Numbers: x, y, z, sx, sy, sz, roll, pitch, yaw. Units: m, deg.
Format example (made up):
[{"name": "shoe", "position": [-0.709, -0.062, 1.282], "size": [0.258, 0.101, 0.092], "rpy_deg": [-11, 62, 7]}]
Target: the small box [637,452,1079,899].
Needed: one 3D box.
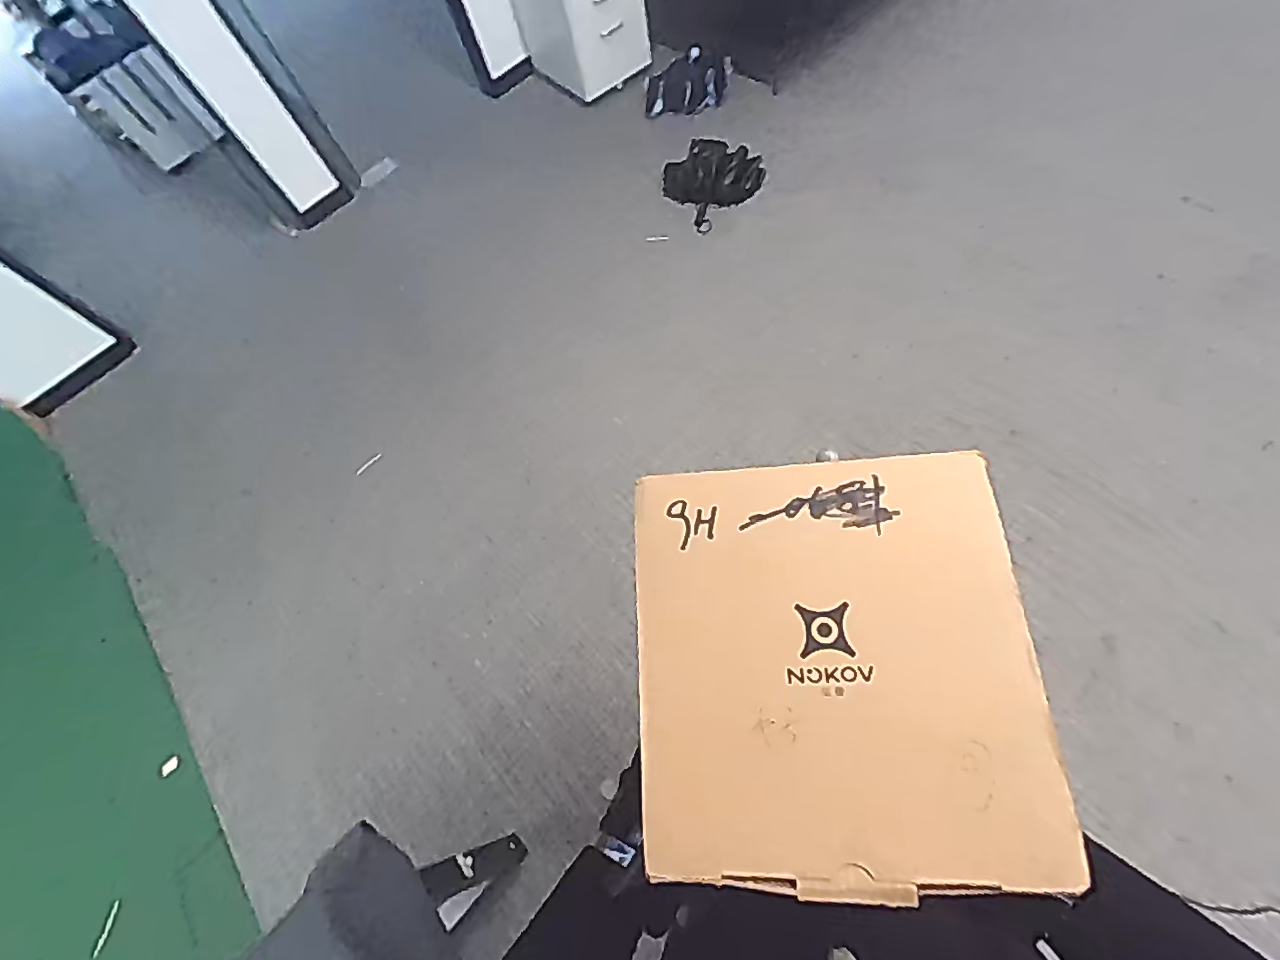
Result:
[{"name": "small box", "position": [0.094, 0.097, 0.309], "size": [0.168, 0.176, 0.179], "rpy_deg": [-4, 72, 9]}]
